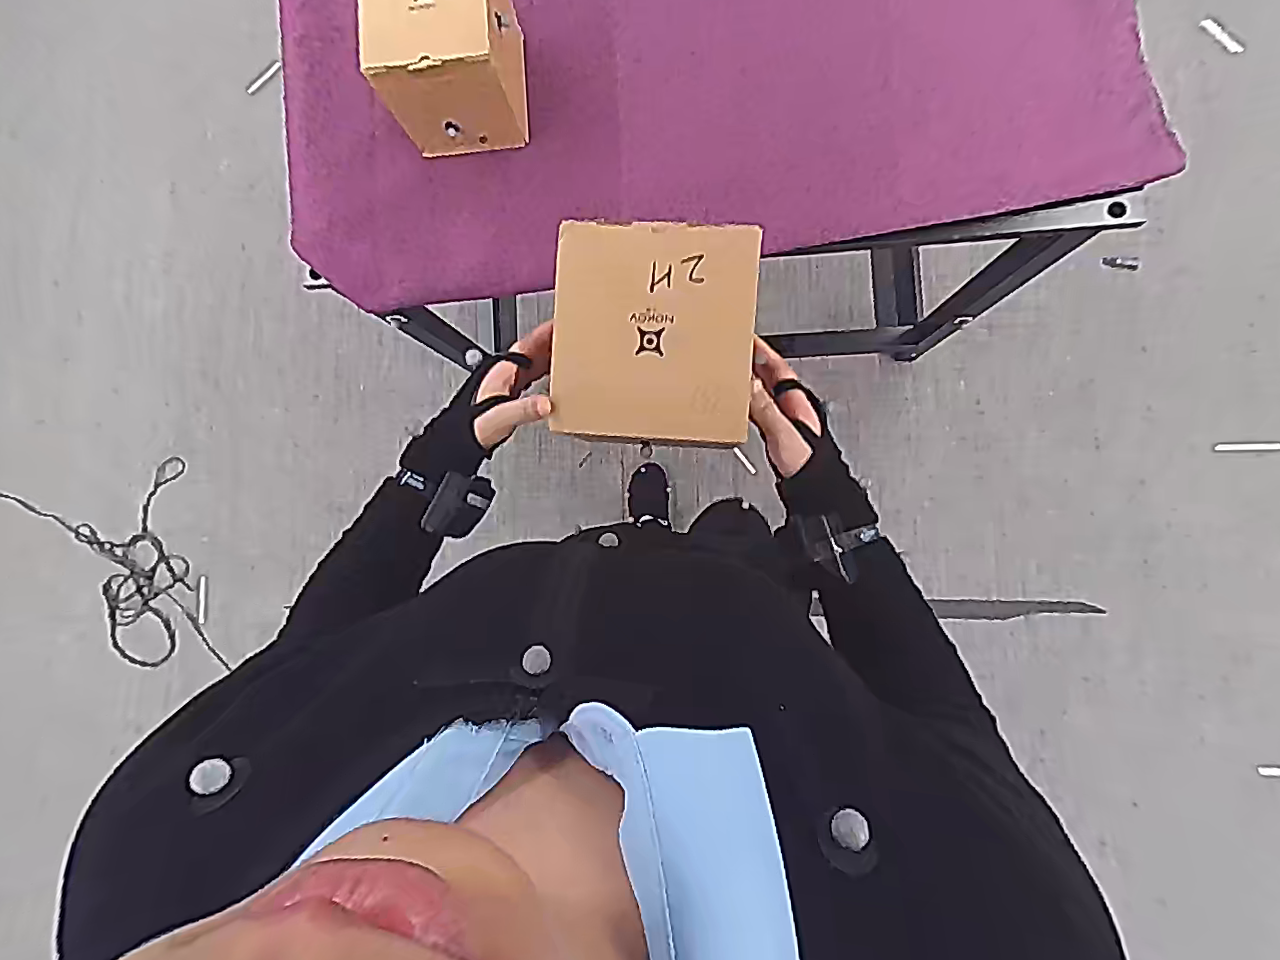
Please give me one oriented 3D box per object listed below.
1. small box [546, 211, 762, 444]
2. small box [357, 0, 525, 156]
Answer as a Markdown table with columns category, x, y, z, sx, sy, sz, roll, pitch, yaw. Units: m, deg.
| category | x | y | z | sx | sy | sz | roll | pitch | yaw |
| --- | --- | --- | --- | --- | --- | --- | --- | --- | --- |
| small box | 0.017 | -0.128 | 0.514 | 0.168 | 0.176 | 0.179 | 4 | 91 | 5 |
| small box | -0.262 | -0.586 | 0.741 | 0.168 | 0.176 | 0.179 | -4 | 88 | 4 |
